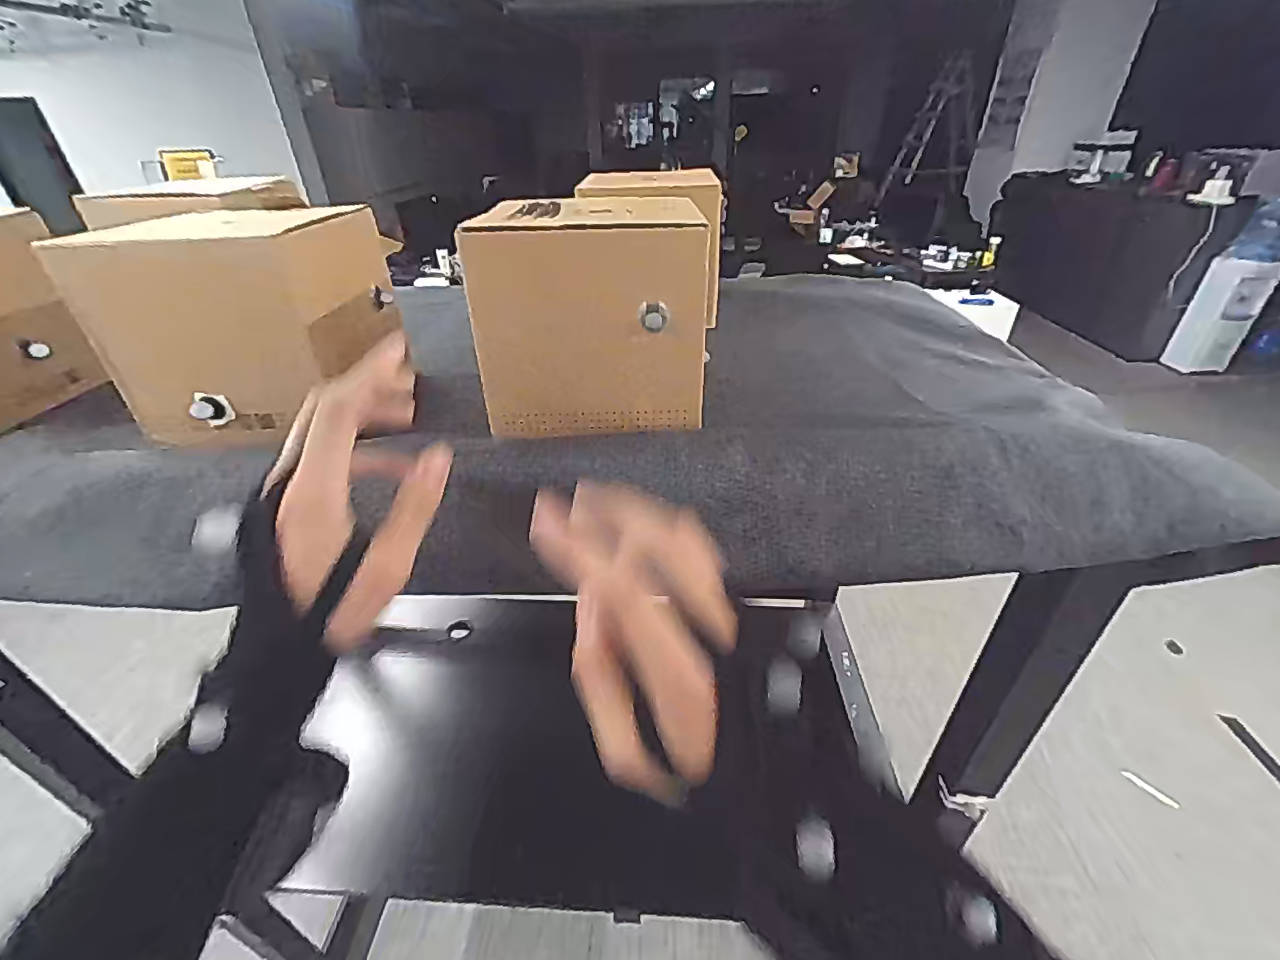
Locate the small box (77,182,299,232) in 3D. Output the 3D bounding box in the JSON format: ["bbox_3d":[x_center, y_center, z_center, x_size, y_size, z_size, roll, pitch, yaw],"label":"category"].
[{"bbox_3d":[-0.563,-0.298,0.732,0.179,0.176,0.168,0,34,1],"label":"small box"}]

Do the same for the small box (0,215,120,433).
[{"bbox_3d":[-0.662,-0.139,0.496,0.179,0.176,0.168,-1,33,0],"label":"small box"}]

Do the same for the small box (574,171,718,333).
[{"bbox_3d":[0.014,-0.300,0.712,0.168,0.176,0.179,0,34,3],"label":"small box"}]

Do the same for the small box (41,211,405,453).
[{"bbox_3d":[-0.330,-0.137,0.482,0.168,0.176,0.179,-3,33,0],"label":"small box"}]
